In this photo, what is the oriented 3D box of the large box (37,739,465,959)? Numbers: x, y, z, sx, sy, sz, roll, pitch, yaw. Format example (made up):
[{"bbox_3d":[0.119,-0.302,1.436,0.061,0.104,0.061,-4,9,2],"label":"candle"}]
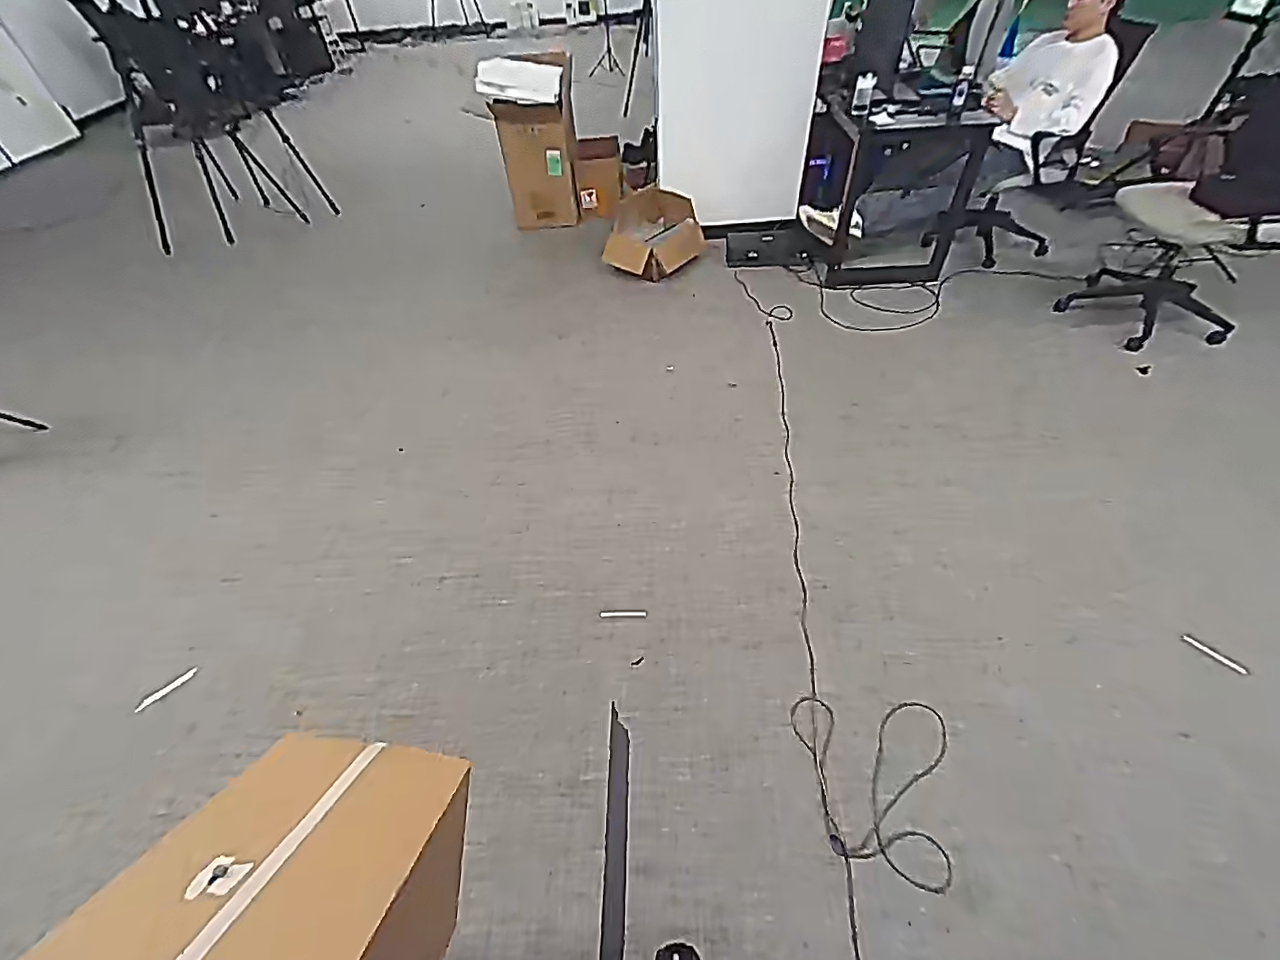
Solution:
[{"bbox_3d":[-0.467,0.628,0.727,0.320,0.320,0.408,7,8,3],"label":"large box"}]
